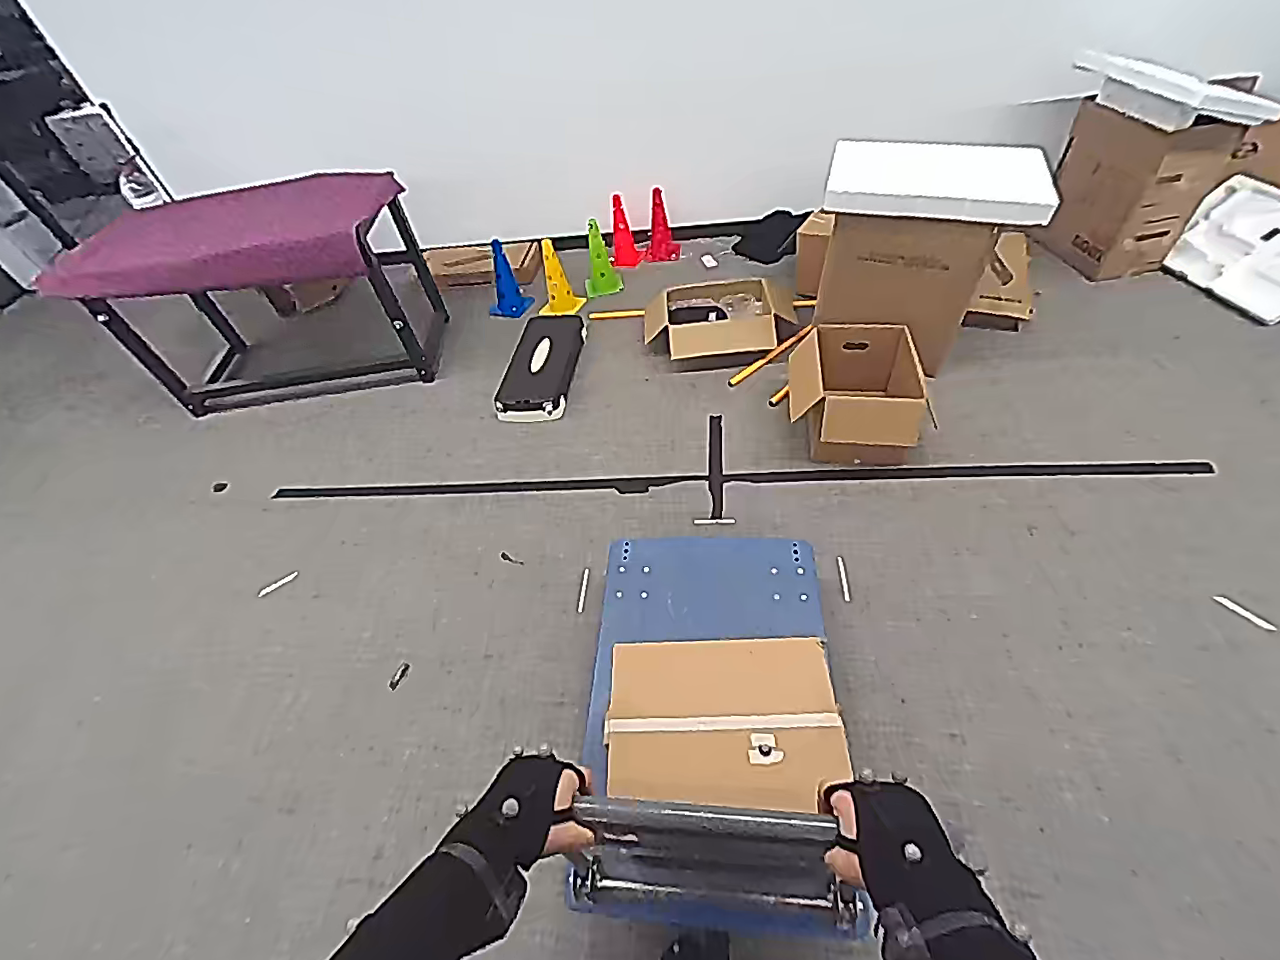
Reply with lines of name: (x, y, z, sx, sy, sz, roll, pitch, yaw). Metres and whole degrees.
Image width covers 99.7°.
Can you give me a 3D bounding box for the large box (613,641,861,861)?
large box: (0.162, 0.538, 1.065, 0.408, 0.320, 0.320, -3, 48, 4)
